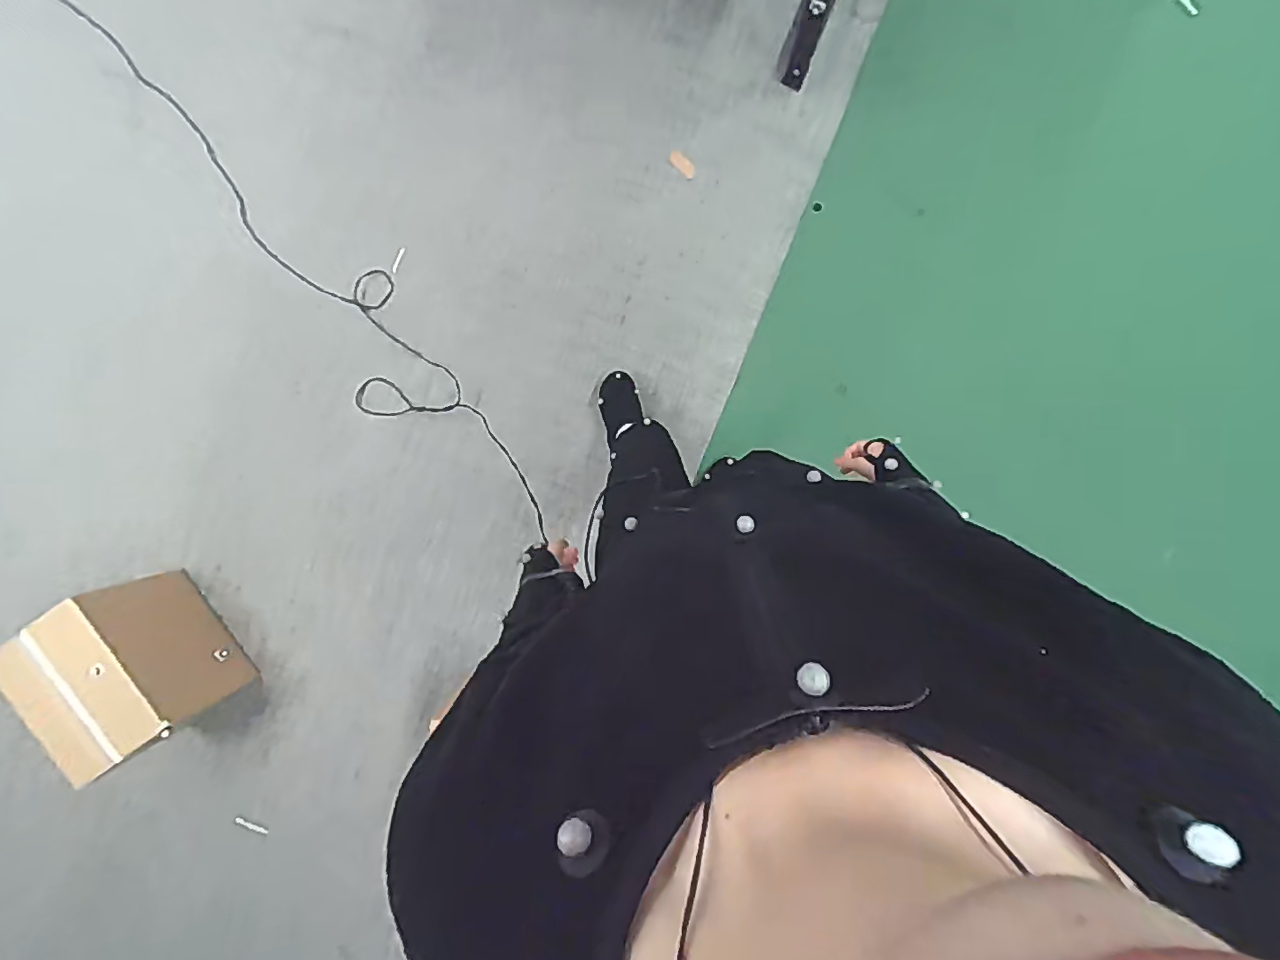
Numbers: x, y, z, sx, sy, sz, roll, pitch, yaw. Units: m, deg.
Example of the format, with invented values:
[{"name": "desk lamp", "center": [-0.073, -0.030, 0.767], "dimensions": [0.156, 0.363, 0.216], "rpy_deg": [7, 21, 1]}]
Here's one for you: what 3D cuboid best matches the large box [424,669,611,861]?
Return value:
[{"name": "large box", "center": [-0.306, 0.731, 1.438], "dimensions": [0.408, 0.320, 0.320], "rpy_deg": [8, 96, 2]}]
